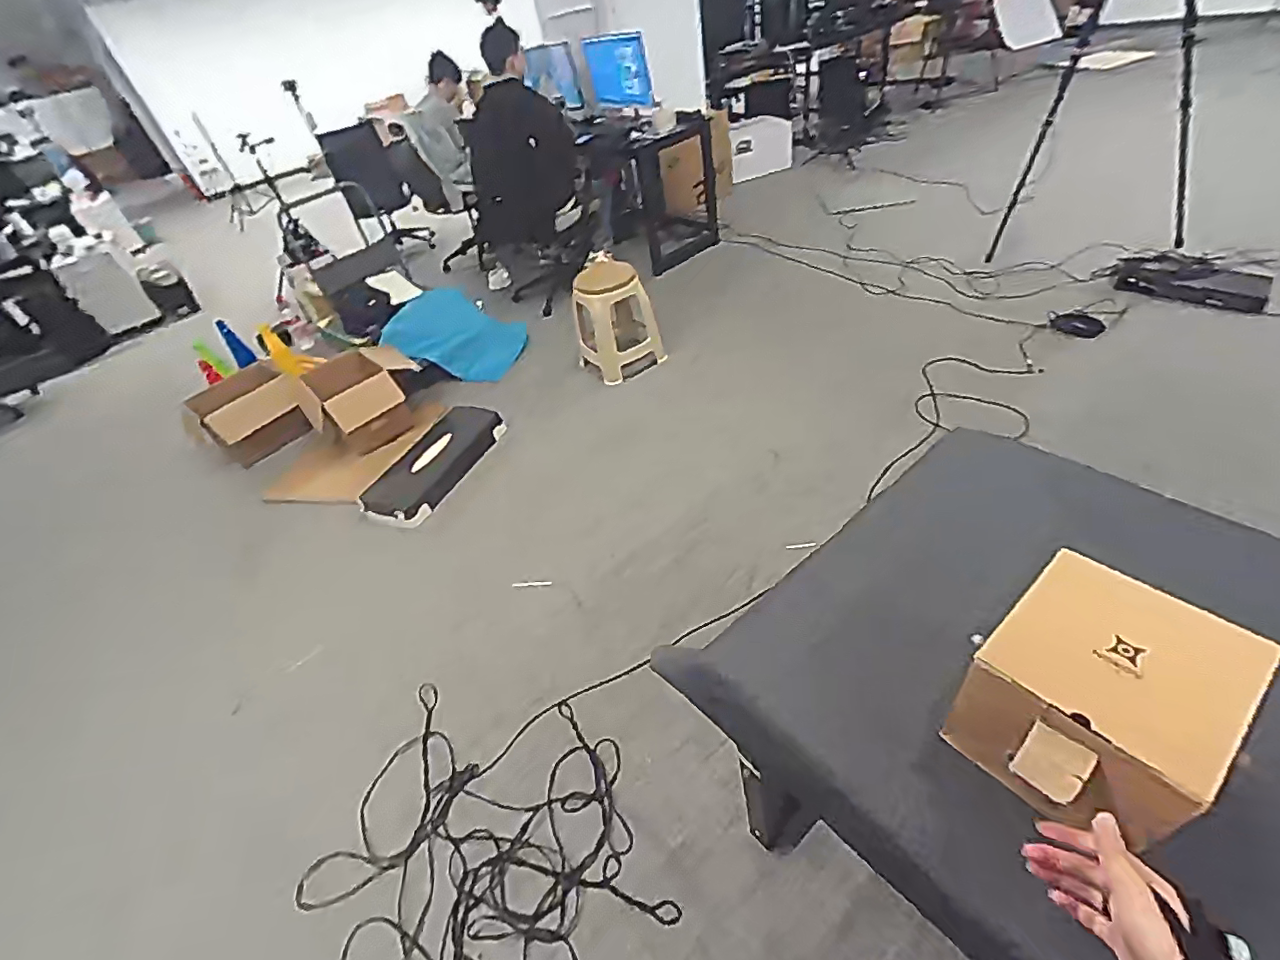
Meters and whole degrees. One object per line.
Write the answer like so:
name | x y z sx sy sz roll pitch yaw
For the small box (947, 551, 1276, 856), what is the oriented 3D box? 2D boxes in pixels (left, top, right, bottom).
small box | 0.428 0.210 0.520 0.179 0.176 0.168 -36 47 -23
